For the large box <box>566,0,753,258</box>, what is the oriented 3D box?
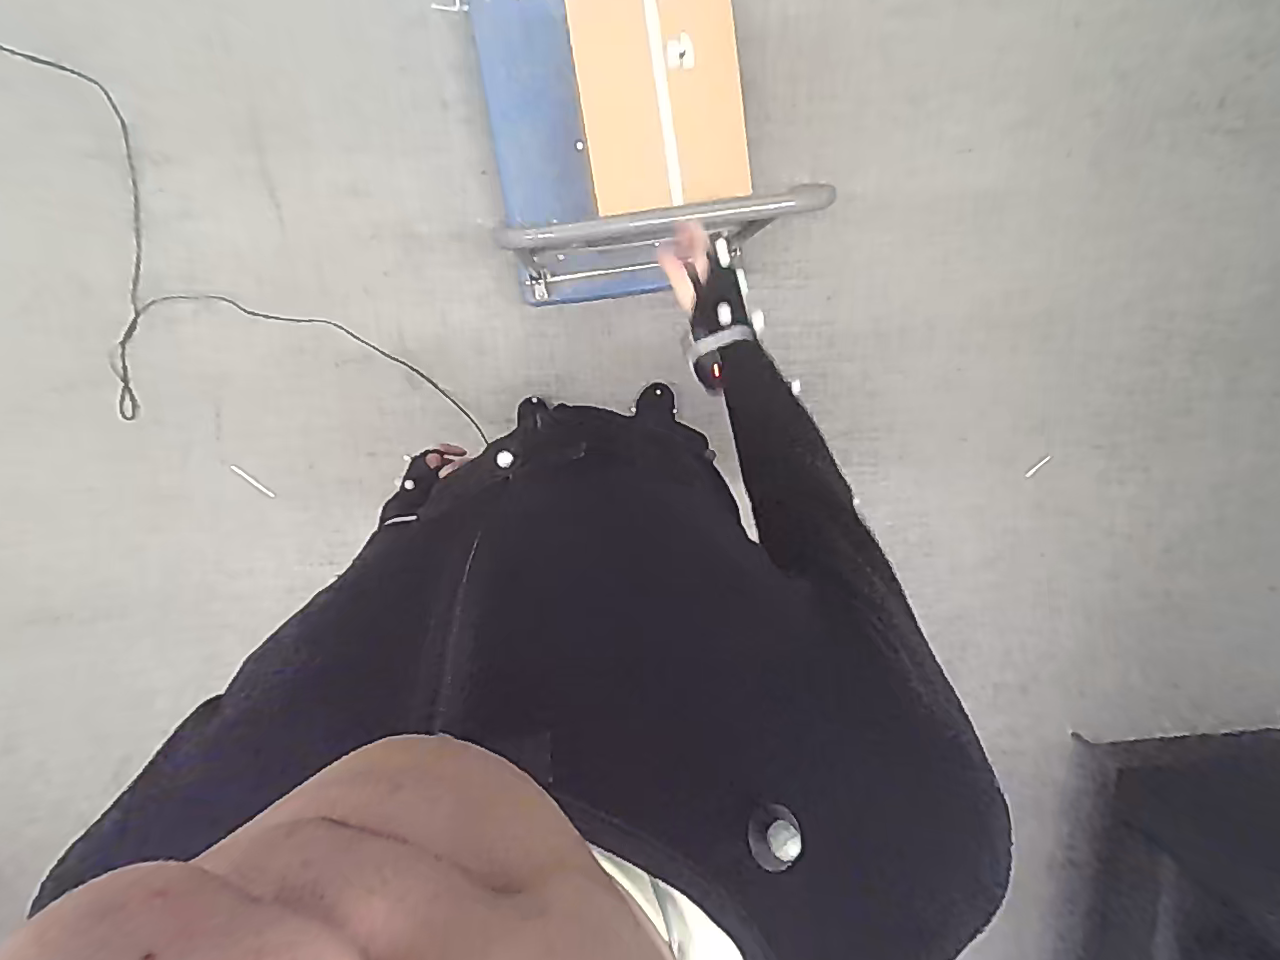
[{"bbox_3d":[0.035,-0.751,1.188,0.320,0.320,0.408,-10,100,-3],"label":"large box"}]
